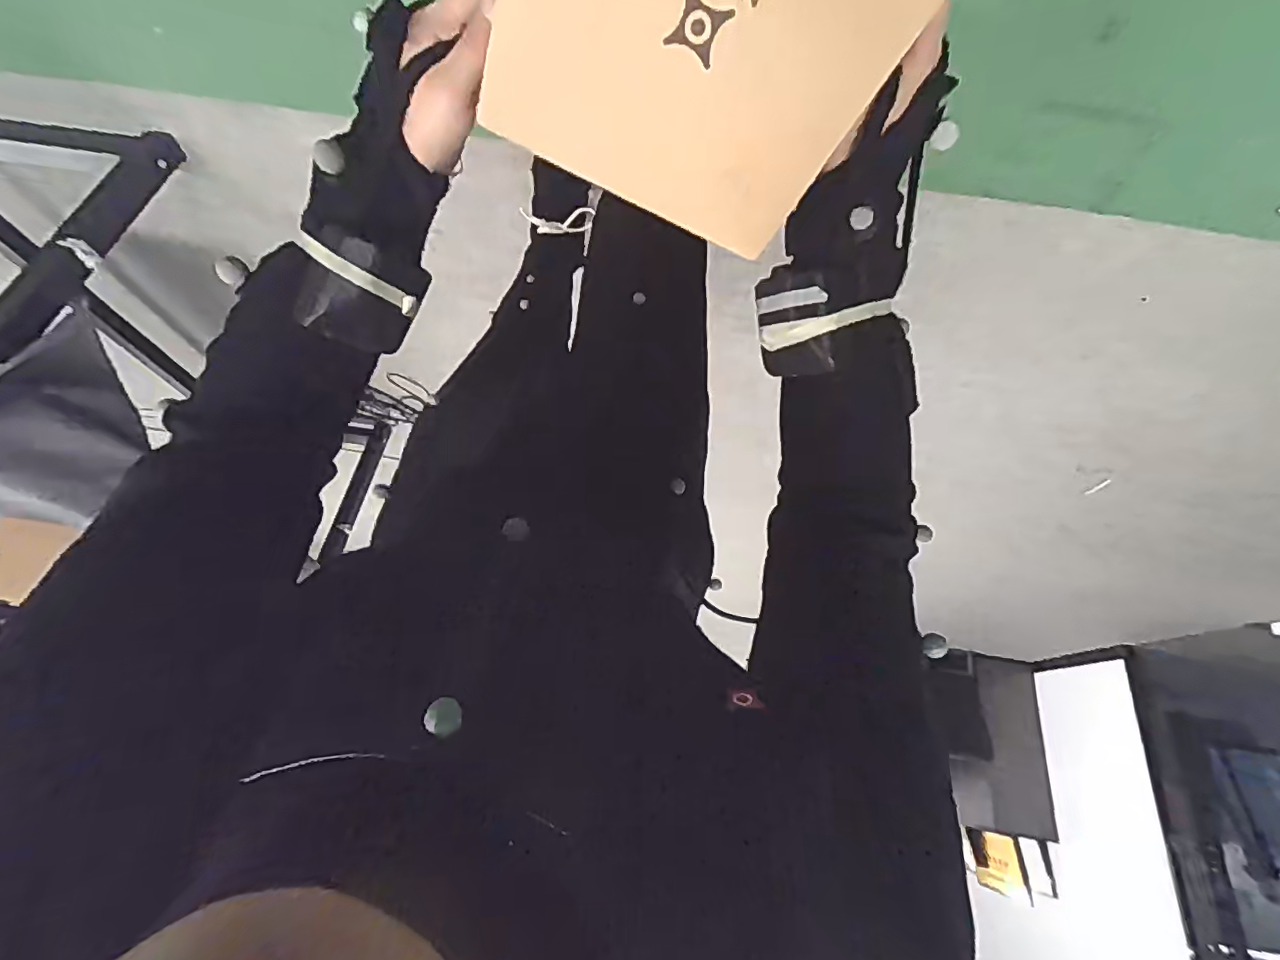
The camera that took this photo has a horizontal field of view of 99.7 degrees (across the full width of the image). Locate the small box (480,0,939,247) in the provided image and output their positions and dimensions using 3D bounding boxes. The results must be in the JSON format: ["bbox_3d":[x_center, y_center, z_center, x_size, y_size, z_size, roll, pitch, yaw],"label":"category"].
[{"bbox_3d":[0.038,-0.263,0.262,0.168,0.176,0.179,19,145,-16],"label":"small box"}]

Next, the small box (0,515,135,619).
[{"bbox_3d":[-1.246,0.183,1.141,0.179,0.176,0.168,9,156,1],"label":"small box"}]
